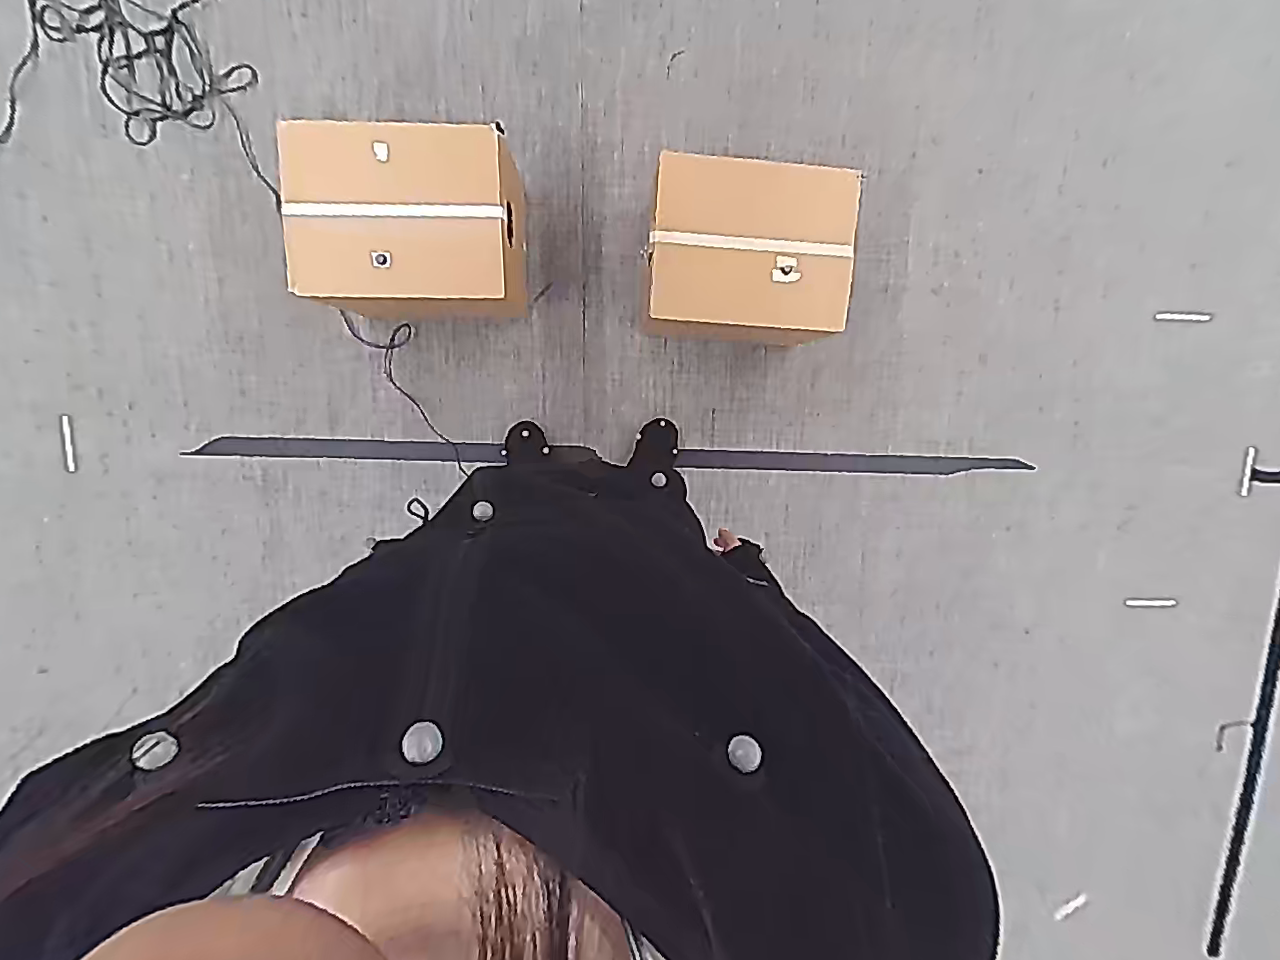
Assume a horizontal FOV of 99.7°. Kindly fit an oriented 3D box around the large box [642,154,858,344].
[{"bbox_3d":[0.218,-0.491,1.228,0.408,0.320,0.320,3,99,-5],"label":"large box"}]
